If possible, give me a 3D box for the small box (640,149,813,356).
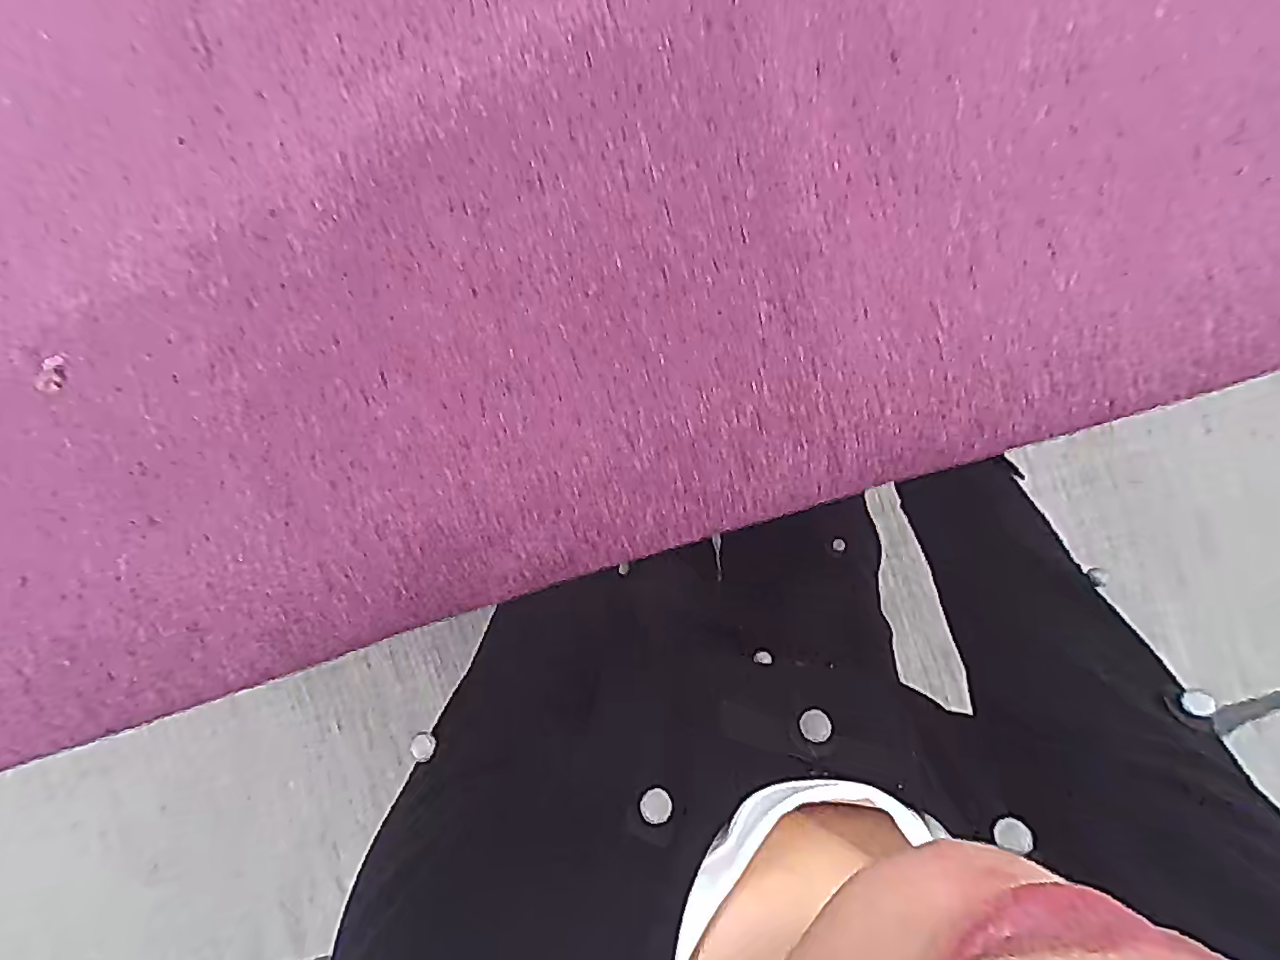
[{"bbox_3d":[0.102,-0.278,0.703,0.168,0.176,0.179,-16,93,4],"label":"small box"}]
